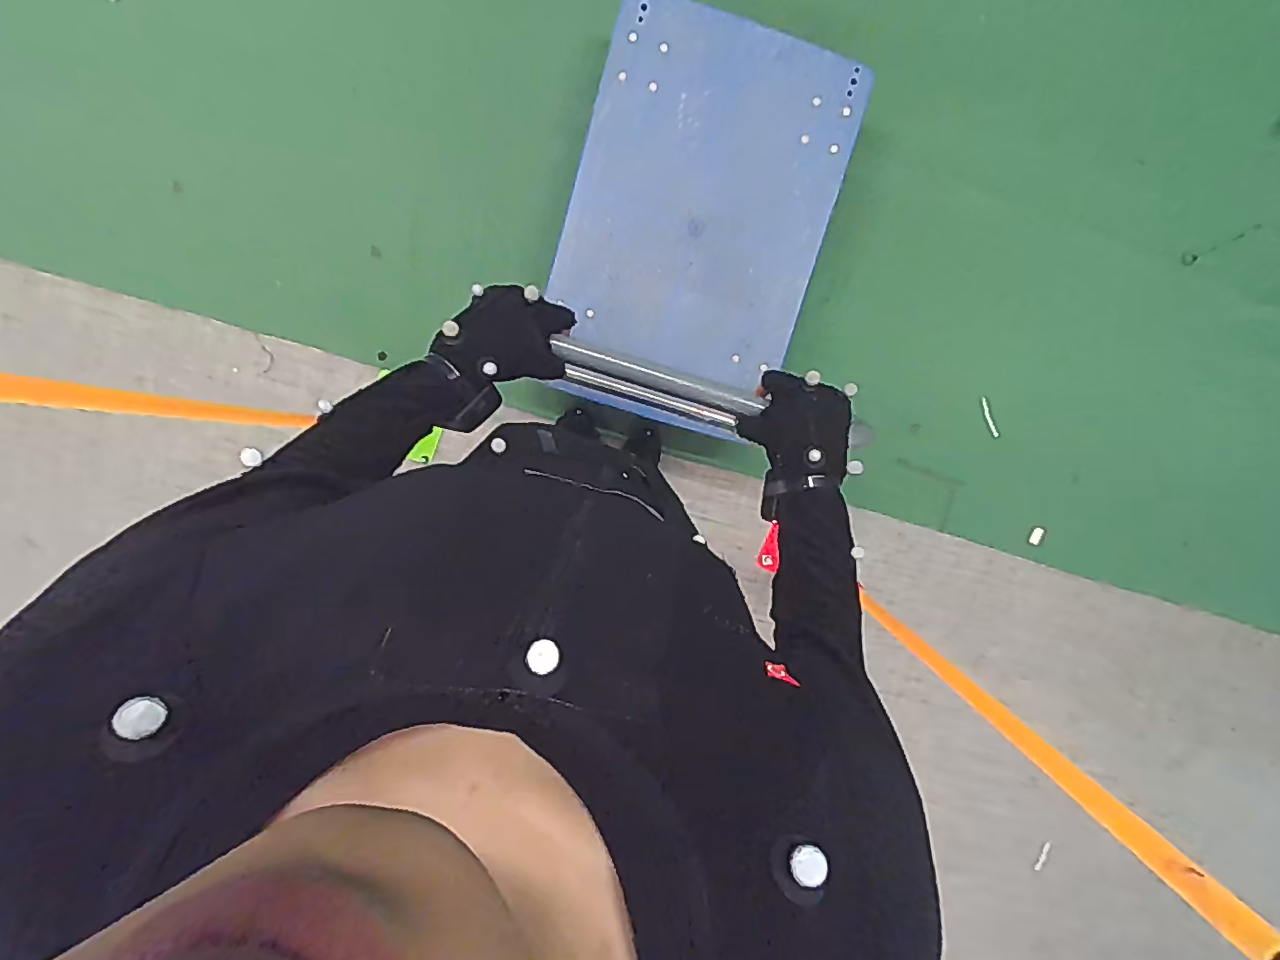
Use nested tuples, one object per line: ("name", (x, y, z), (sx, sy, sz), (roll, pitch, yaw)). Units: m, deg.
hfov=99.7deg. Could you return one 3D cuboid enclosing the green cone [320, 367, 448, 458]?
("green cone", (-0.622, -0.154, 1.263), (0.202, 0.368, 0.200), (21, 97, -4))
